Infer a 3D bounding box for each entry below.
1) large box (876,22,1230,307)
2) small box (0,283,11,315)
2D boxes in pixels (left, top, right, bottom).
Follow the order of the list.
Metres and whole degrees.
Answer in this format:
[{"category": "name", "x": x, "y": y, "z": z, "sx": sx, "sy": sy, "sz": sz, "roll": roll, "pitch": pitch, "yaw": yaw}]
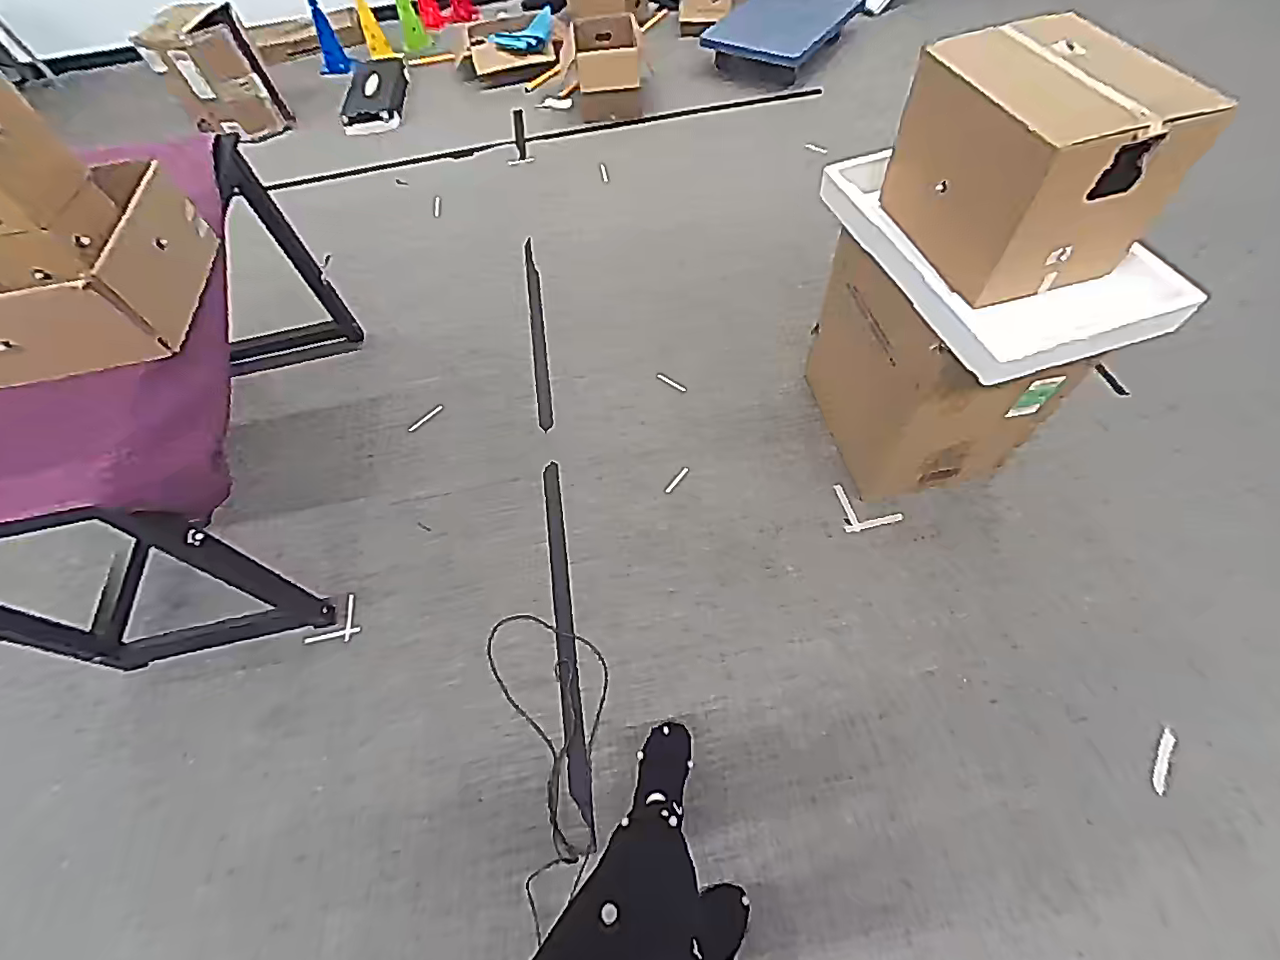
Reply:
[{"category": "large box", "x": 0.735, "y": -0.612, "z": 1.058, "sx": 0.320, "sy": 0.320, "sz": 0.408, "roll": -15, "pitch": 57, "yaw": -5}, {"category": "small box", "x": -1.352, "y": -0.349, "z": 0.999, "sx": 0.168, "sy": 0.176, "sz": 0.179, "roll": -14, "pitch": 58, "yaw": -5}]
